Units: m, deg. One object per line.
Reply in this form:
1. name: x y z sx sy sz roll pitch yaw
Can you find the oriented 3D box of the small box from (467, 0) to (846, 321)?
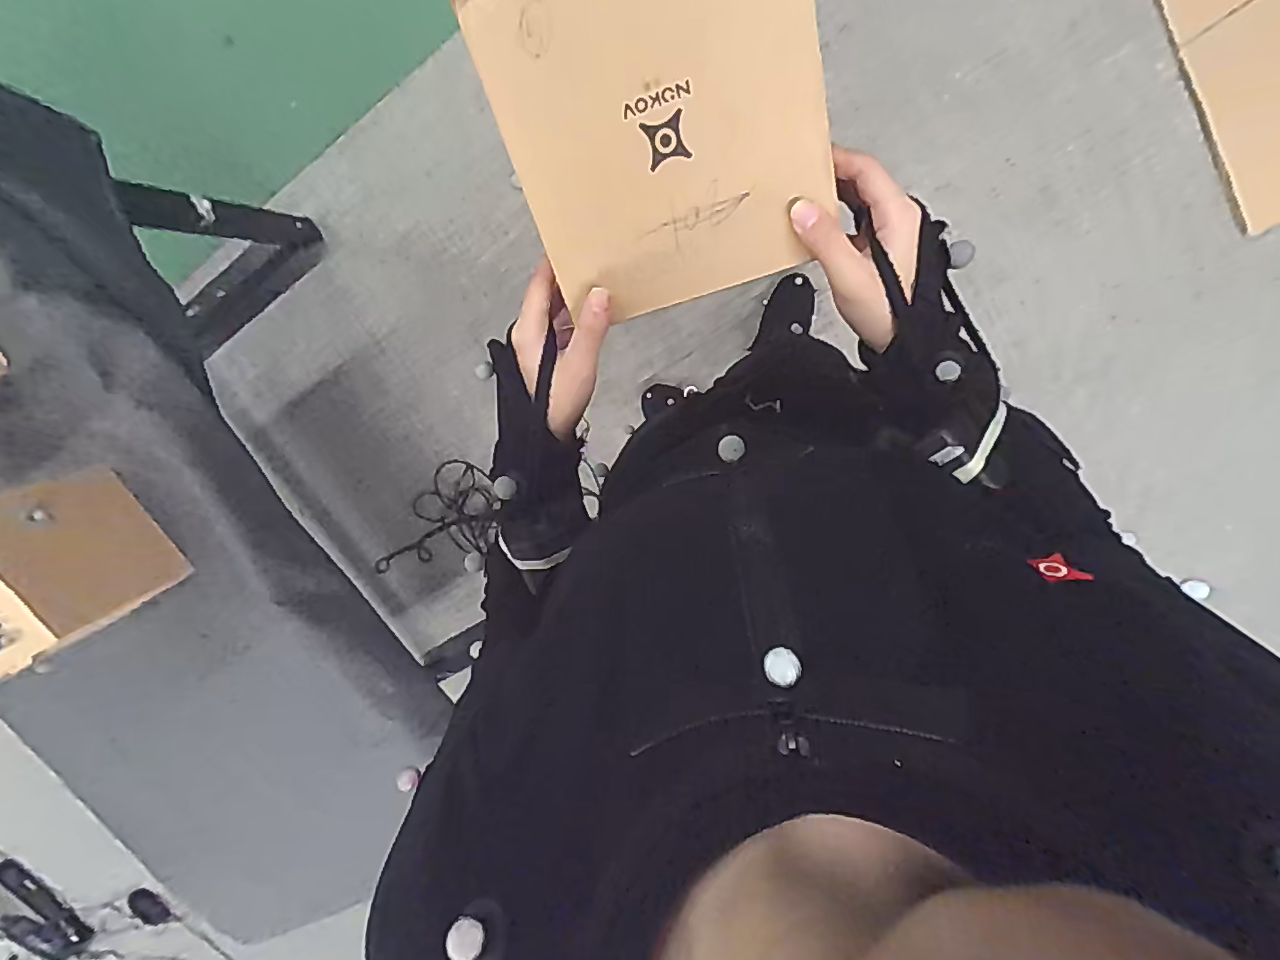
1. small box: 0.018 -0.228 0.347 0.168 0.176 0.179 -14 121 11
